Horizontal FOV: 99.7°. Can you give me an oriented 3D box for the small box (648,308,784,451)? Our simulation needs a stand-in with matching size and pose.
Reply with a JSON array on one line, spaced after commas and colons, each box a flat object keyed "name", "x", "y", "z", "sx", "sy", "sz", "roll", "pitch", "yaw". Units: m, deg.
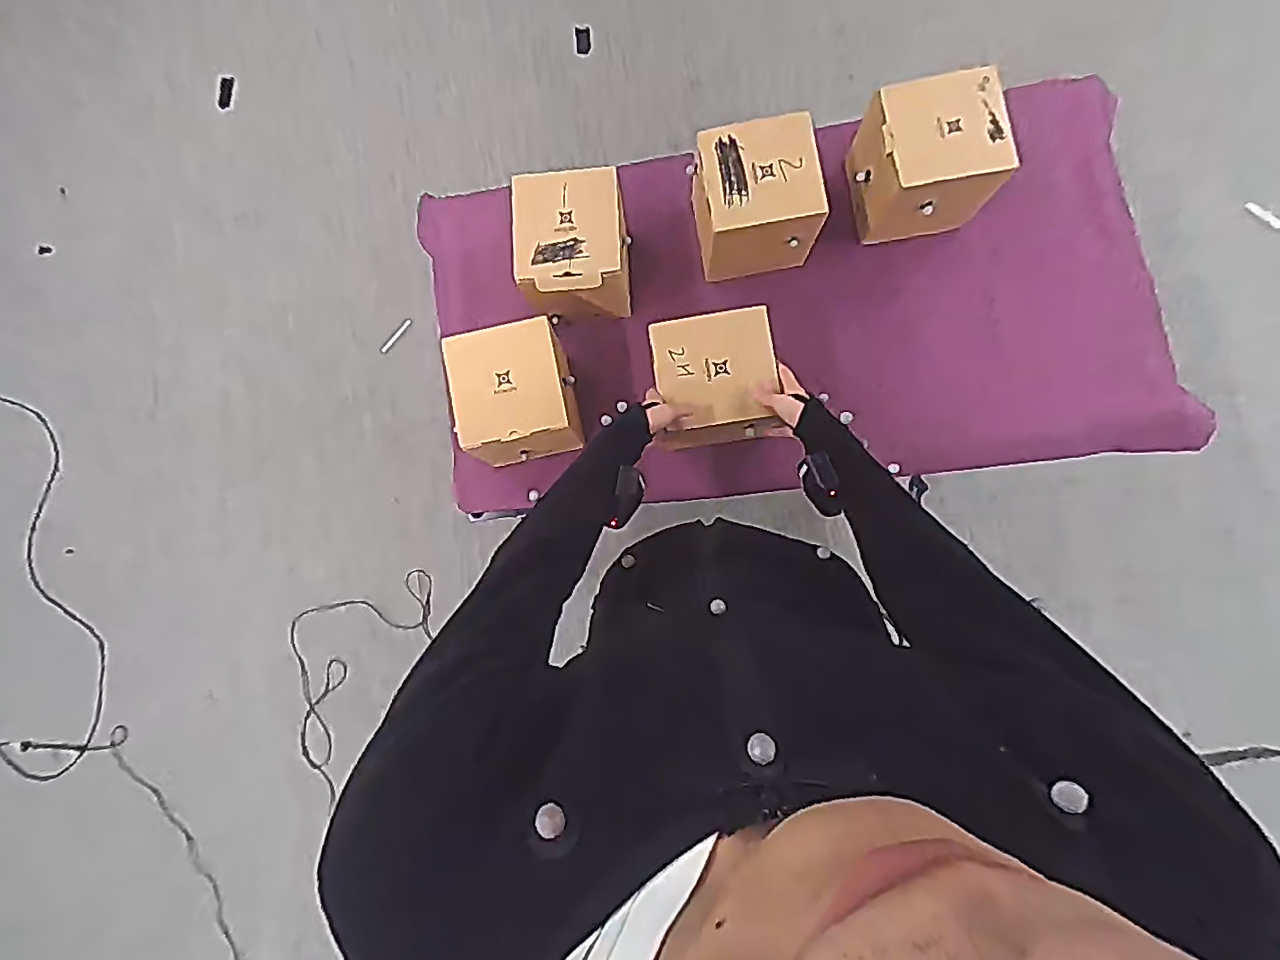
[{"name": "small box", "x": 0.113, "y": -0.148, "z": 0.849, "sx": 0.179, "sy": 0.176, "sz": 0.168, "roll": -9, "pitch": 83, "yaw": 4}]

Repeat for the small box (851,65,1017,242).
[{"name": "small box", "x": 0.454, "y": -0.510, "z": 0.871, "sx": 0.179, "sy": 0.176, "sz": 0.168, "roll": -9, "pitch": 86, "yaw": 4}]

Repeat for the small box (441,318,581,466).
[{"name": "small box", "x": -0.199, "y": -0.132, "z": 0.873, "sx": 0.168, "sy": 0.176, "sz": 0.179, "roll": -13, "pitch": 83, "yaw": 0}]

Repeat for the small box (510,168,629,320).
[{"name": "small box", "x": -0.110, "y": -0.377, "z": 0.897, "sx": 0.168, "sy": 0.176, "sz": 0.179, "roll": -3, "pitch": 83, "yaw": 3}]
